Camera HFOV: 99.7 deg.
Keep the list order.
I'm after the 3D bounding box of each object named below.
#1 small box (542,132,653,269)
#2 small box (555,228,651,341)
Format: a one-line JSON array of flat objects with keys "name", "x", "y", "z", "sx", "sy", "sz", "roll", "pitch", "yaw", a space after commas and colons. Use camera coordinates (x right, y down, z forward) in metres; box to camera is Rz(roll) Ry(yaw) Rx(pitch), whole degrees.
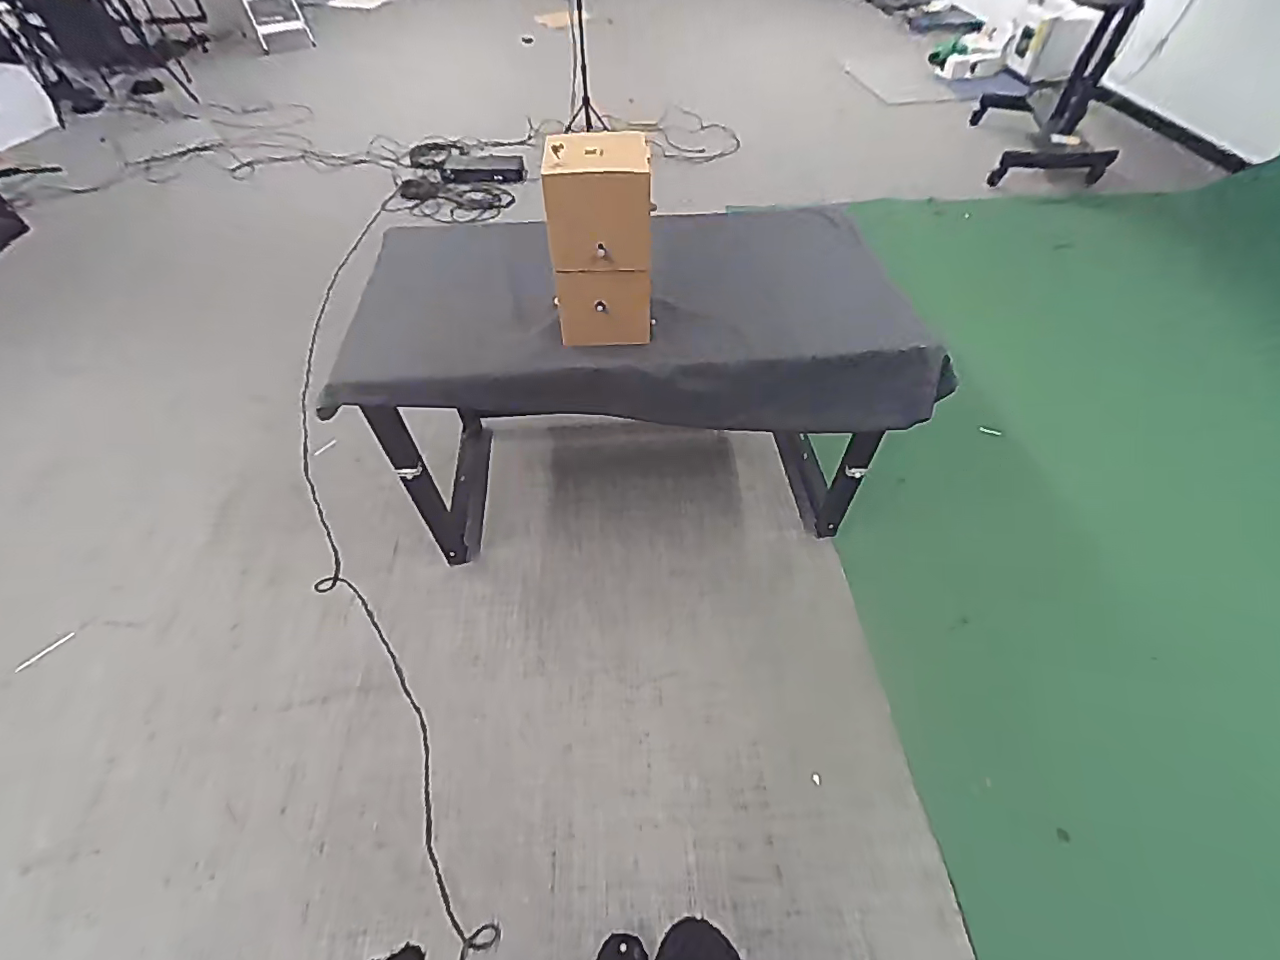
[{"name": "small box", "x": -0.070, "y": -0.491, "z": 0.958, "sx": 0.179, "sy": 0.176, "sz": 0.168, "roll": -2, "pitch": 51, "yaw": -1}, {"name": "small box", "x": -0.067, "y": -0.394, "z": 1.087, "sx": 0.179, "sy": 0.176, "sz": 0.168, "roll": 0, "pitch": 50, "yaw": 1}]
